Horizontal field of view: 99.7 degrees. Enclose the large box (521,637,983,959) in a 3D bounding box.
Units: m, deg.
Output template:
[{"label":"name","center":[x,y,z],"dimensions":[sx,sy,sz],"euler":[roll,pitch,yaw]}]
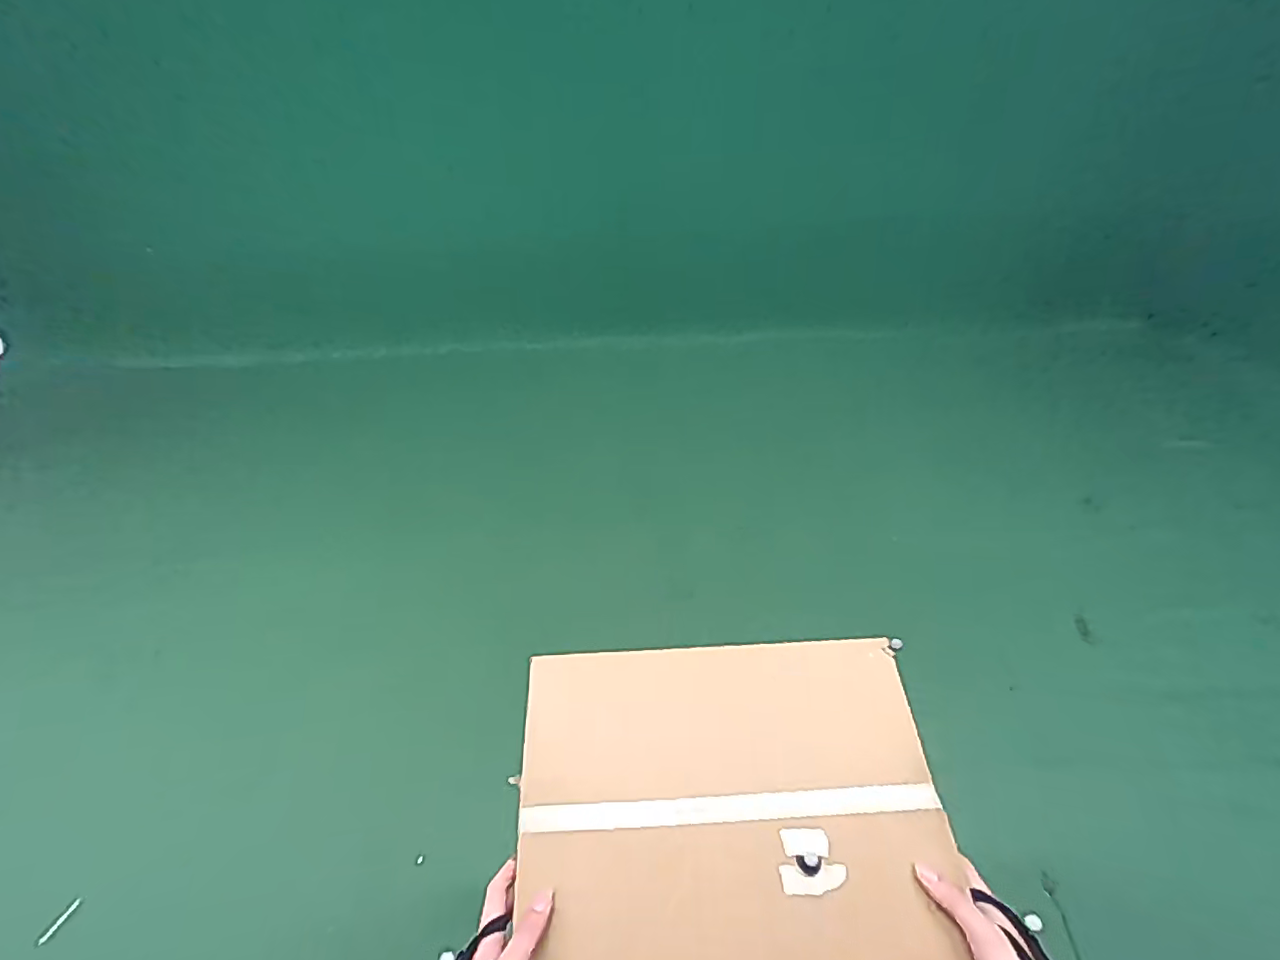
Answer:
[{"label":"large box","center":[0.089,0.406,0.653],"dimensions":[0.408,0.320,0.320],"euler":[-3,56,-1]}]
